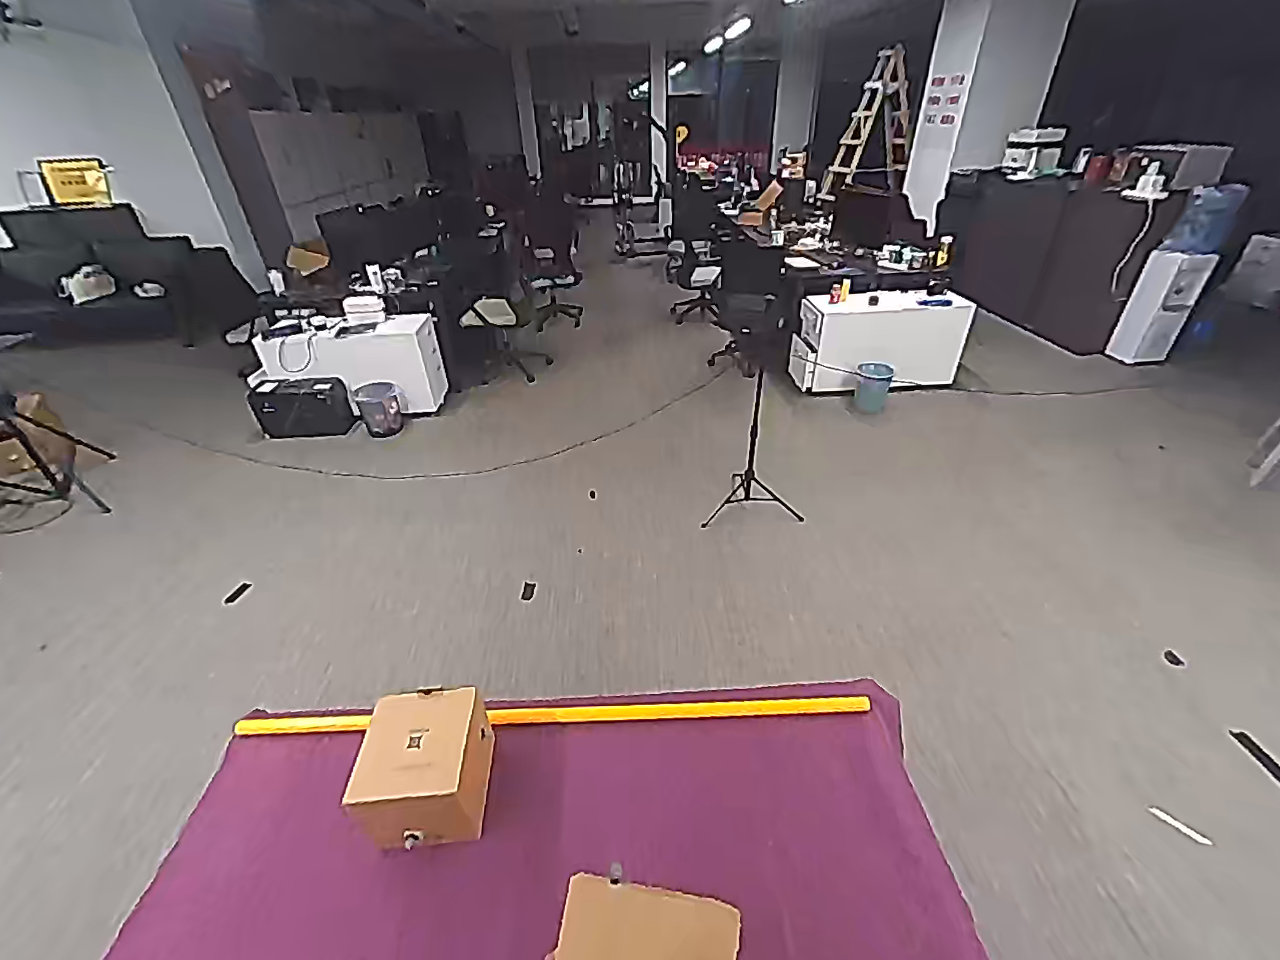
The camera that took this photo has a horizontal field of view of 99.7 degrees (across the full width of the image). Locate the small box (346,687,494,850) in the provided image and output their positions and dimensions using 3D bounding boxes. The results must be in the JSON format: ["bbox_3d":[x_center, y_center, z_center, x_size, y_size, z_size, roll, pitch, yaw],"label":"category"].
[{"bbox_3d":[-0.345,0.470,0.888,0.168,0.176,0.179,-4,35,-2],"label":"small box"}]

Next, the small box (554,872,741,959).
[{"bbox_3d":[-0.001,0.524,0.560,0.179,0.176,0.168,9,55,4],"label":"small box"}]
